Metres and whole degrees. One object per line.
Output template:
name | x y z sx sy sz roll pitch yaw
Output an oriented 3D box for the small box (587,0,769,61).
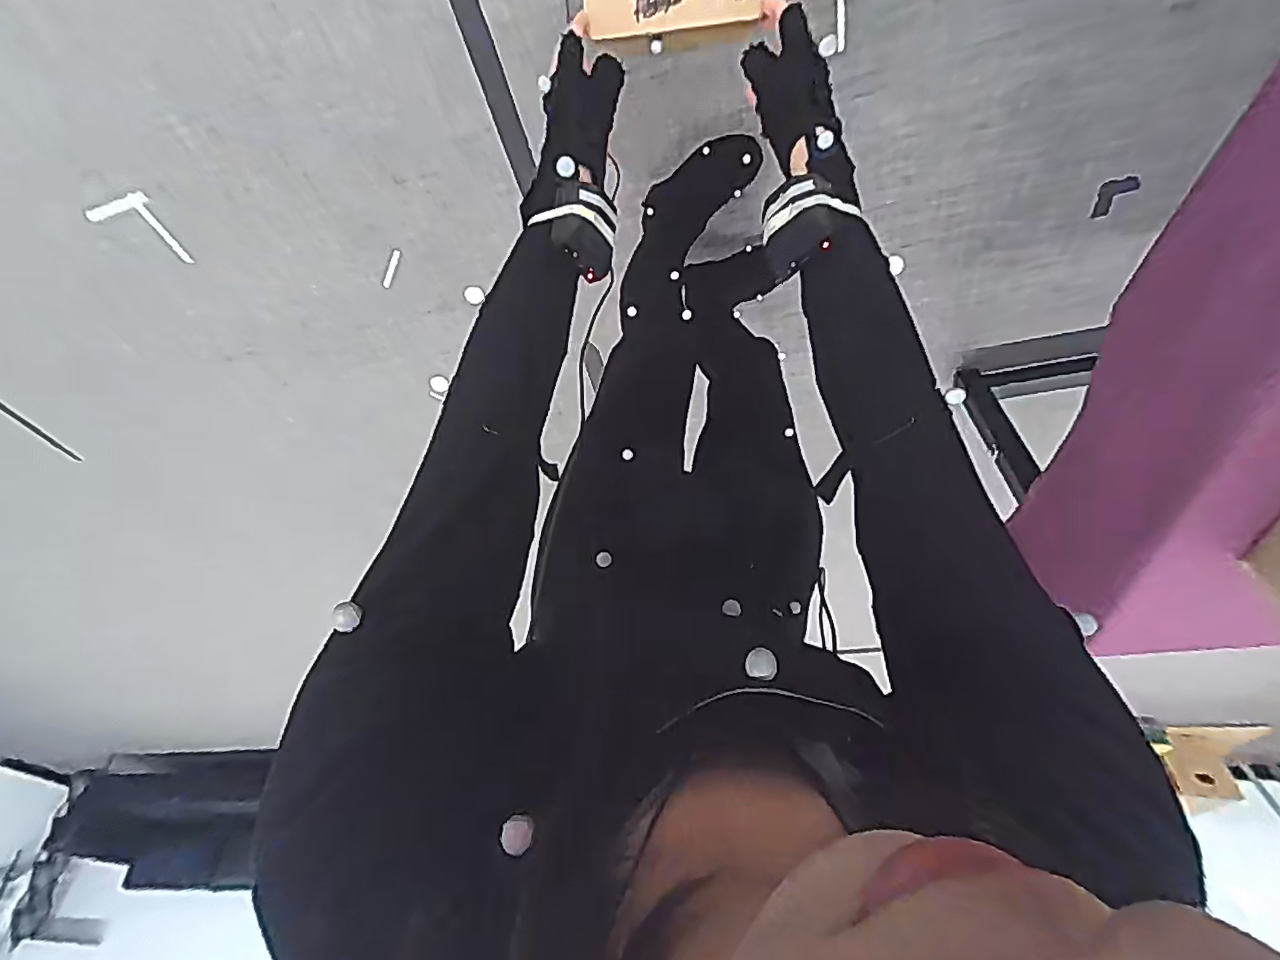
small box | 0.032 -0.531 0.517 0.168 0.176 0.179 -3 120 5
